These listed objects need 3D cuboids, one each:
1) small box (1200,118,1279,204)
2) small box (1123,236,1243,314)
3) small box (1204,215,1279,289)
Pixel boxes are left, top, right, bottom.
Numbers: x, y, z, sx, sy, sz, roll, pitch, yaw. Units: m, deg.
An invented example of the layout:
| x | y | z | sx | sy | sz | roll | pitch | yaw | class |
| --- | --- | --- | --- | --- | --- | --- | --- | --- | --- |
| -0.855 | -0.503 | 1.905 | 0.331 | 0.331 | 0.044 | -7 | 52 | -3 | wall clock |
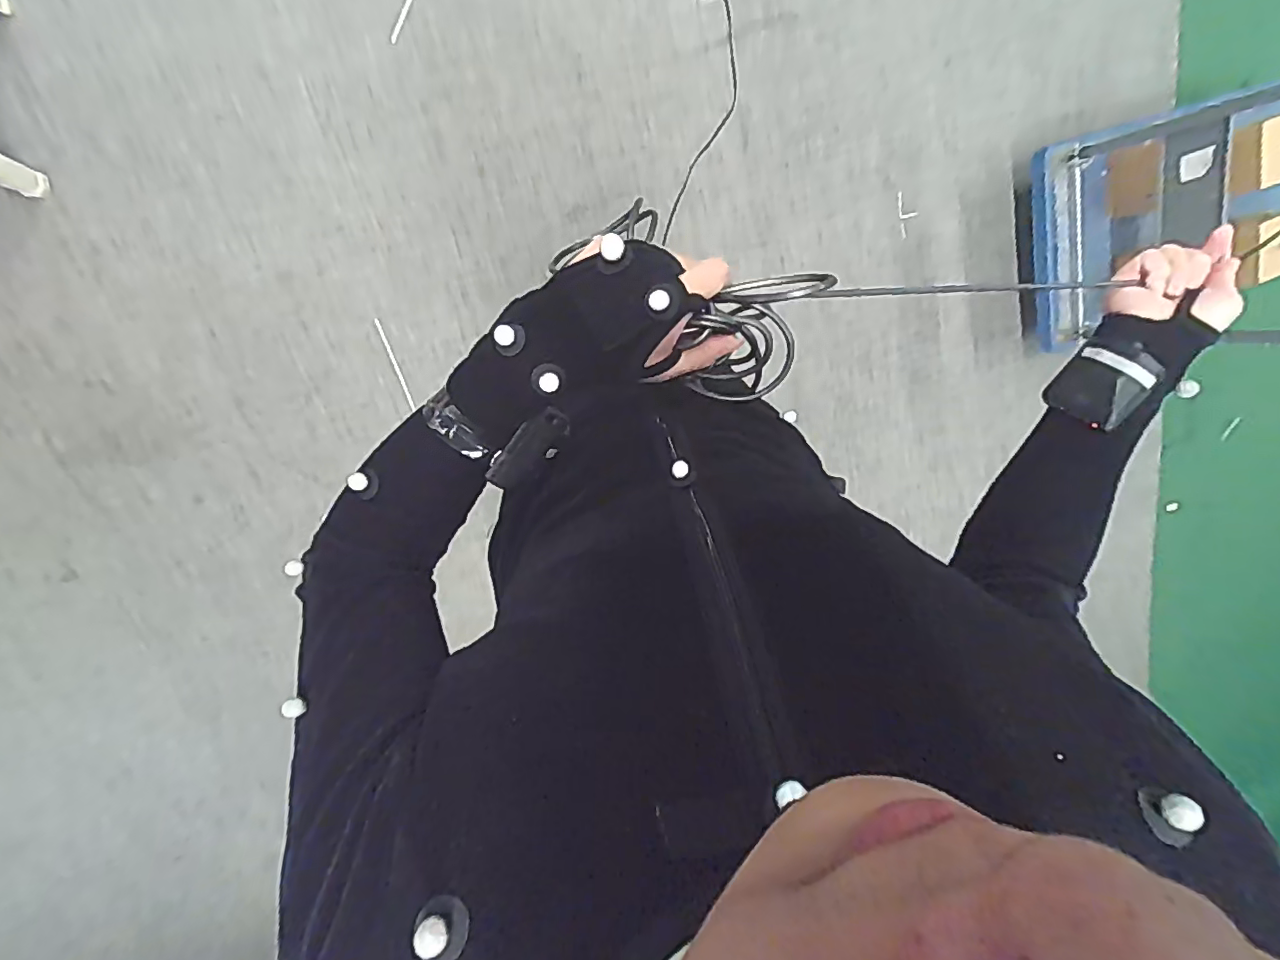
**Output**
| x | y | z | sx | sy | sz | roll | pitch | yaw | class |
| --- | --- | --- | --- | --- | --- | --- | --- | --- | --- |
| 1.699 | -0.882 | 1.482 | 0.179 | 0.176 | 0.168 | -22 | 108 | -5 | small box |
| 1.528 | -0.574 | 1.529 | 0.179 | 0.176 | 0.168 | -17 | 107 | -6 | small box |
| 1.783 | -0.657 | 1.557 | 0.179 | 0.176 | 0.168 | -21 | 107 | -4 | small box |
